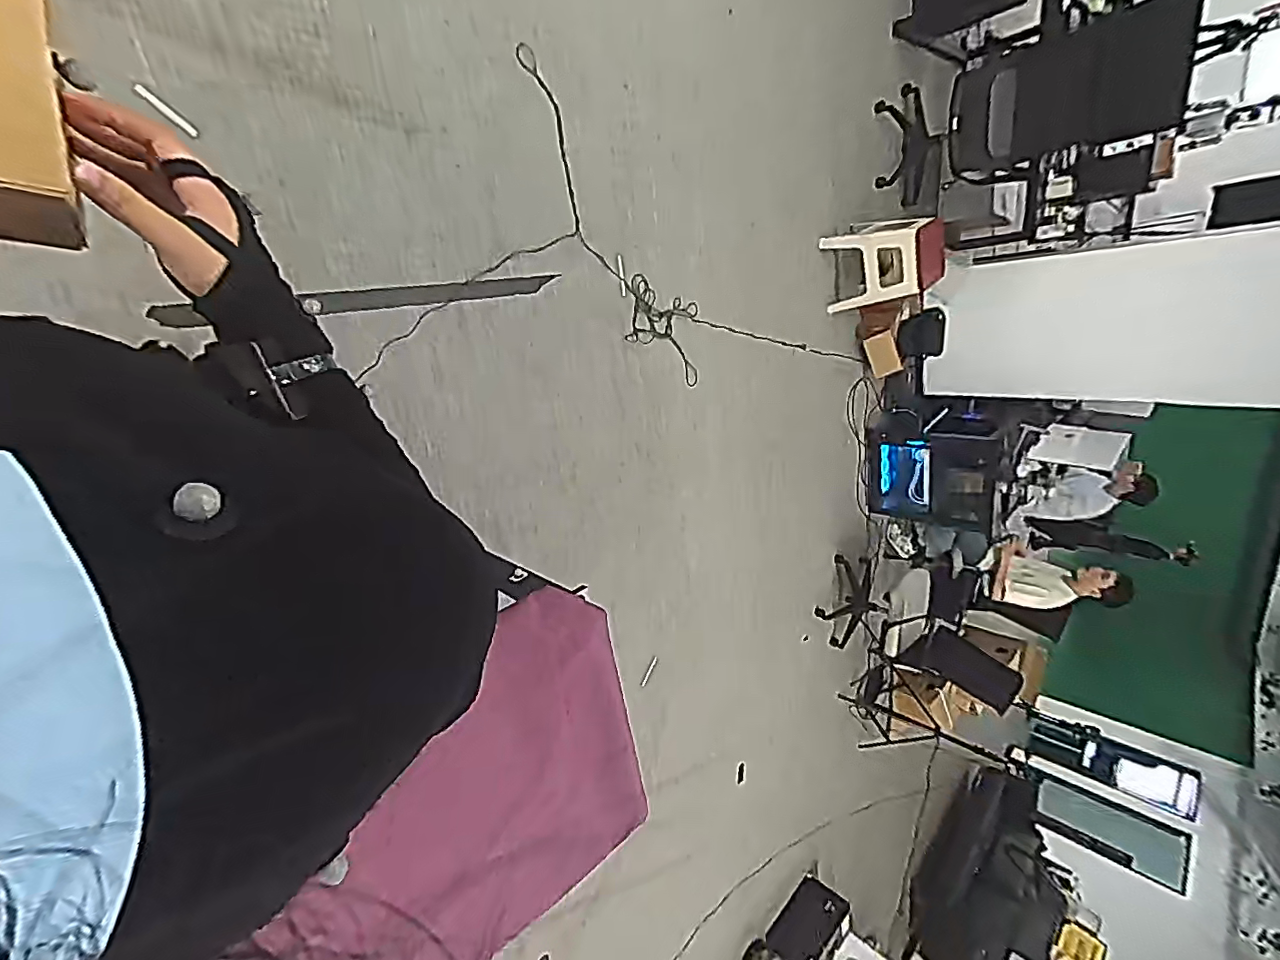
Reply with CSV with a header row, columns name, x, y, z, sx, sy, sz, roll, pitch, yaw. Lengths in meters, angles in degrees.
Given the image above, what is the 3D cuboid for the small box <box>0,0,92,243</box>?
name,x,y,z,sx,sy,sz,roll,pitch,yaw
small box,-0.423,-0.246,0.291,0.168,0.176,0.179,-8,104,-44
